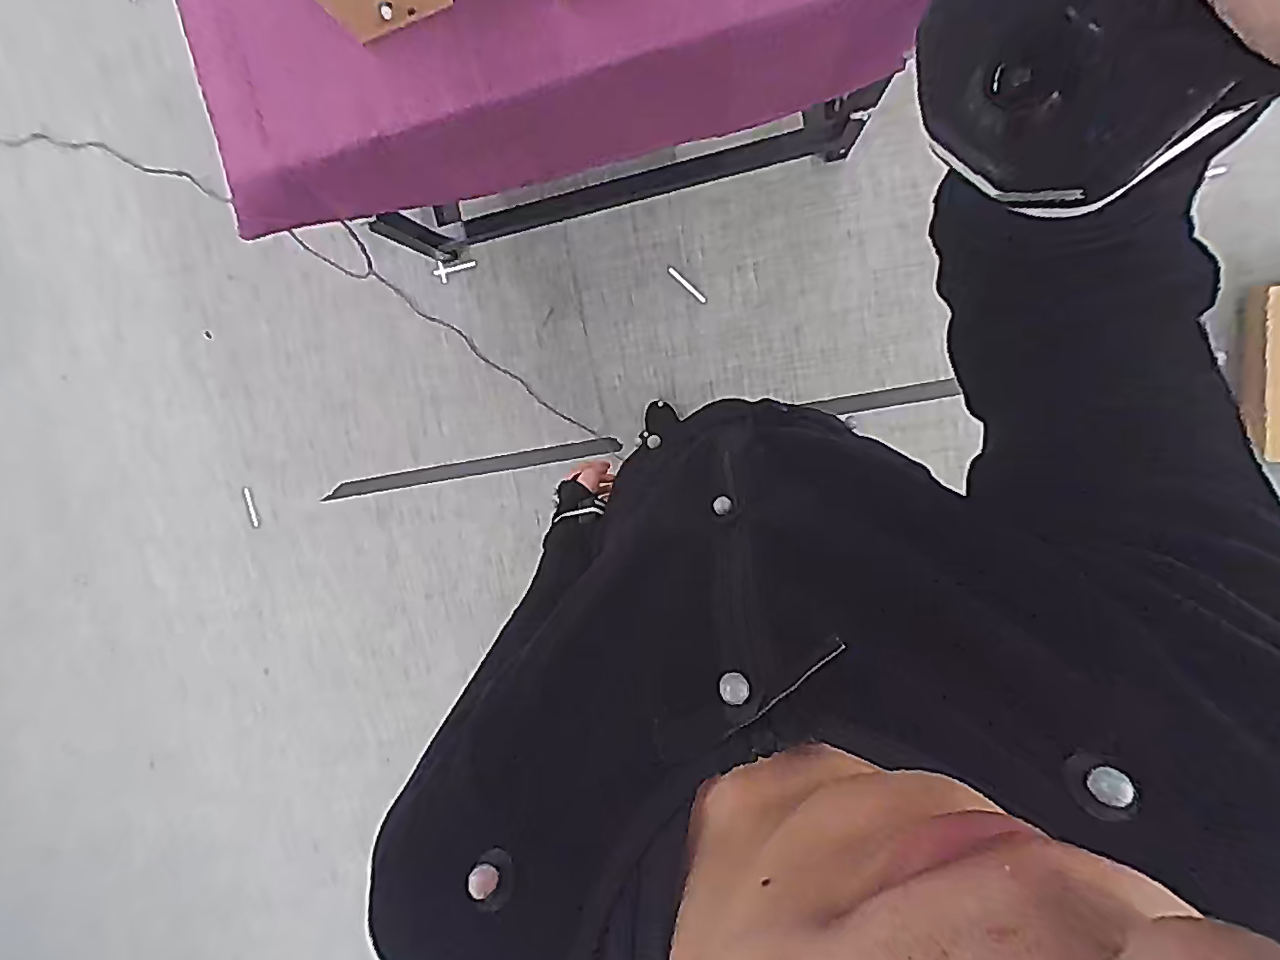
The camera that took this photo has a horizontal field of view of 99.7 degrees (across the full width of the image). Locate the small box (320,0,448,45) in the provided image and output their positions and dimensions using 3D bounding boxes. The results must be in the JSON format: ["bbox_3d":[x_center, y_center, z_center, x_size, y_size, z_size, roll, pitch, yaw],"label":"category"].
[{"bbox_3d":[-0.398,-0.770,0.751,0.168,0.176,0.179,-15,98,10],"label":"small box"}]
